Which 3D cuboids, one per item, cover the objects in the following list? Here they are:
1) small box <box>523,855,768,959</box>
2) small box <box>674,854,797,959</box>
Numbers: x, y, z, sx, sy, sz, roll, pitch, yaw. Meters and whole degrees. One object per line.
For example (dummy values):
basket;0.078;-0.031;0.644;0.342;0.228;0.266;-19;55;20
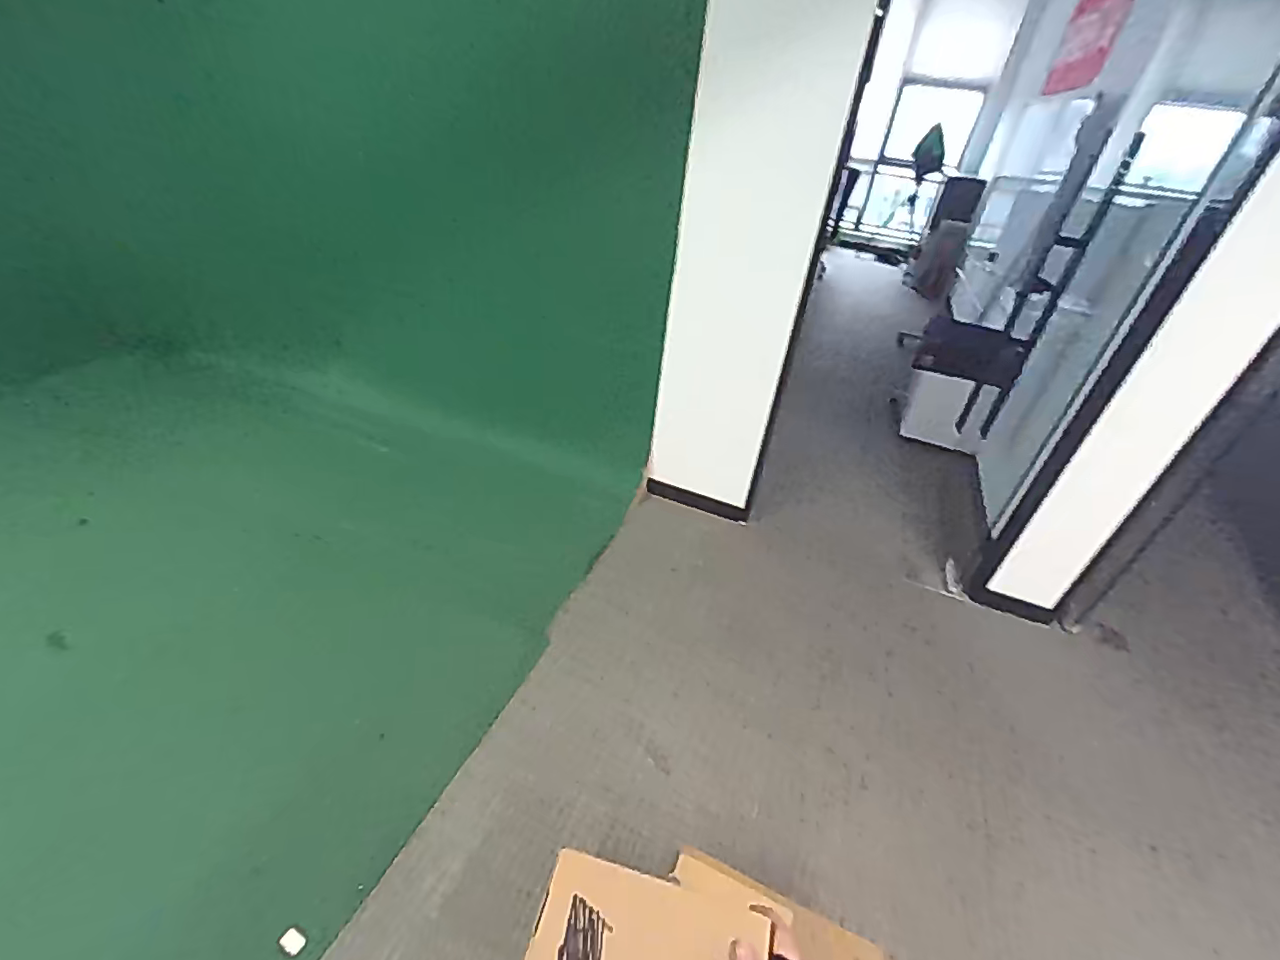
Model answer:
small box;-0.004;0.435;0.430;0.179;0.176;0.168;10;47;12
small box;0.097;0.670;0.734;0.168;0.176;0.179;19;36;17
